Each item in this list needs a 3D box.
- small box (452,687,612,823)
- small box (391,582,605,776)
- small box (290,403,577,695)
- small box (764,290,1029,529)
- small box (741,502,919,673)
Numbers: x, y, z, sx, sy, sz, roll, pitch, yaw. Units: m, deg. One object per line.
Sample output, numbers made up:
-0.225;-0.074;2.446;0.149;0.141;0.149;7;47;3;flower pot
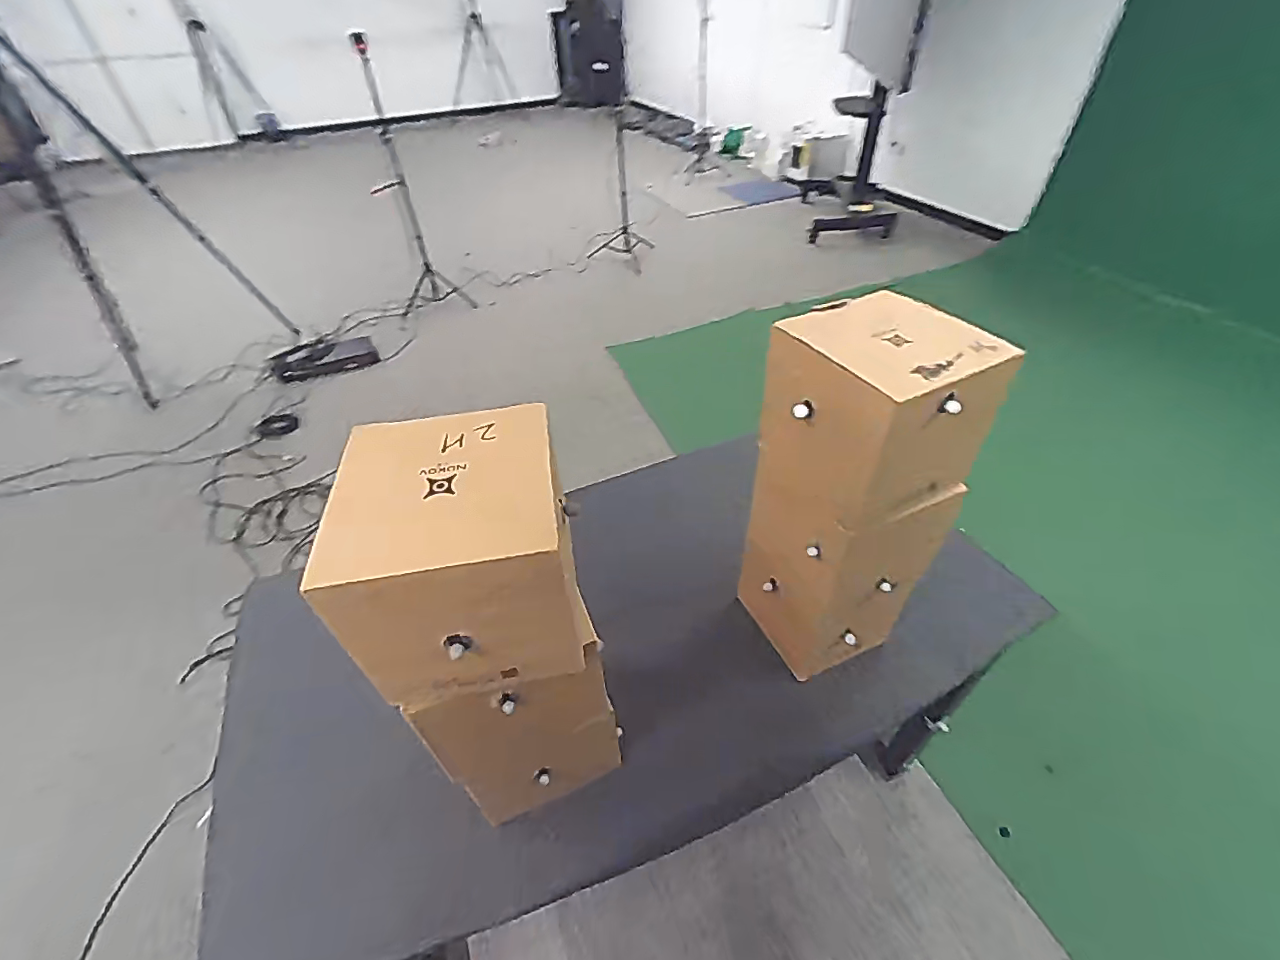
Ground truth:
-0.140;0.294;0.685;0.179;0.176;0.168;-18;45;-15;small box
-0.147;0.178;0.571;0.179;0.176;0.168;-17;46;-15;small box
-0.148;0.061;0.455;0.168;0.176;0.179;-8;44;-6;small box
0.252;-0.079;0.582;0.168;0.176;0.179;-21;45;-18;small box
0.267;0.161;0.805;0.168;0.176;0.179;-18;44;-16;small box
